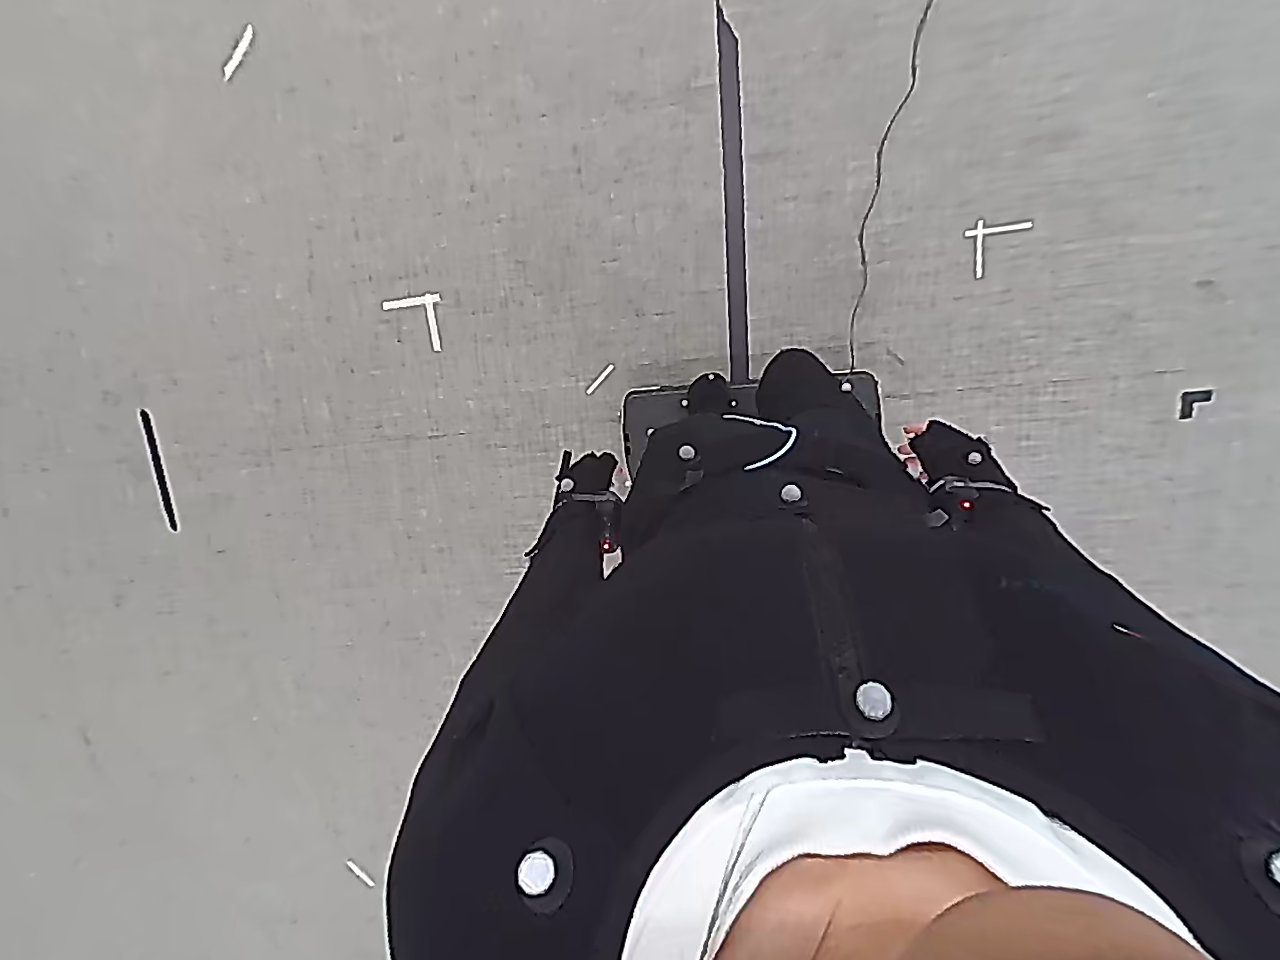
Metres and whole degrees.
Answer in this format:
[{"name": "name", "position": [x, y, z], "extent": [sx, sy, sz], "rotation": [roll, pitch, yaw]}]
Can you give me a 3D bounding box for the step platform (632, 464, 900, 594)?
[{"name": "step platform", "position": [0.321, 0.133, 1.452], "extent": [0.684, 0.204, 0.286], "rotation": [-5, 99, 8]}]
